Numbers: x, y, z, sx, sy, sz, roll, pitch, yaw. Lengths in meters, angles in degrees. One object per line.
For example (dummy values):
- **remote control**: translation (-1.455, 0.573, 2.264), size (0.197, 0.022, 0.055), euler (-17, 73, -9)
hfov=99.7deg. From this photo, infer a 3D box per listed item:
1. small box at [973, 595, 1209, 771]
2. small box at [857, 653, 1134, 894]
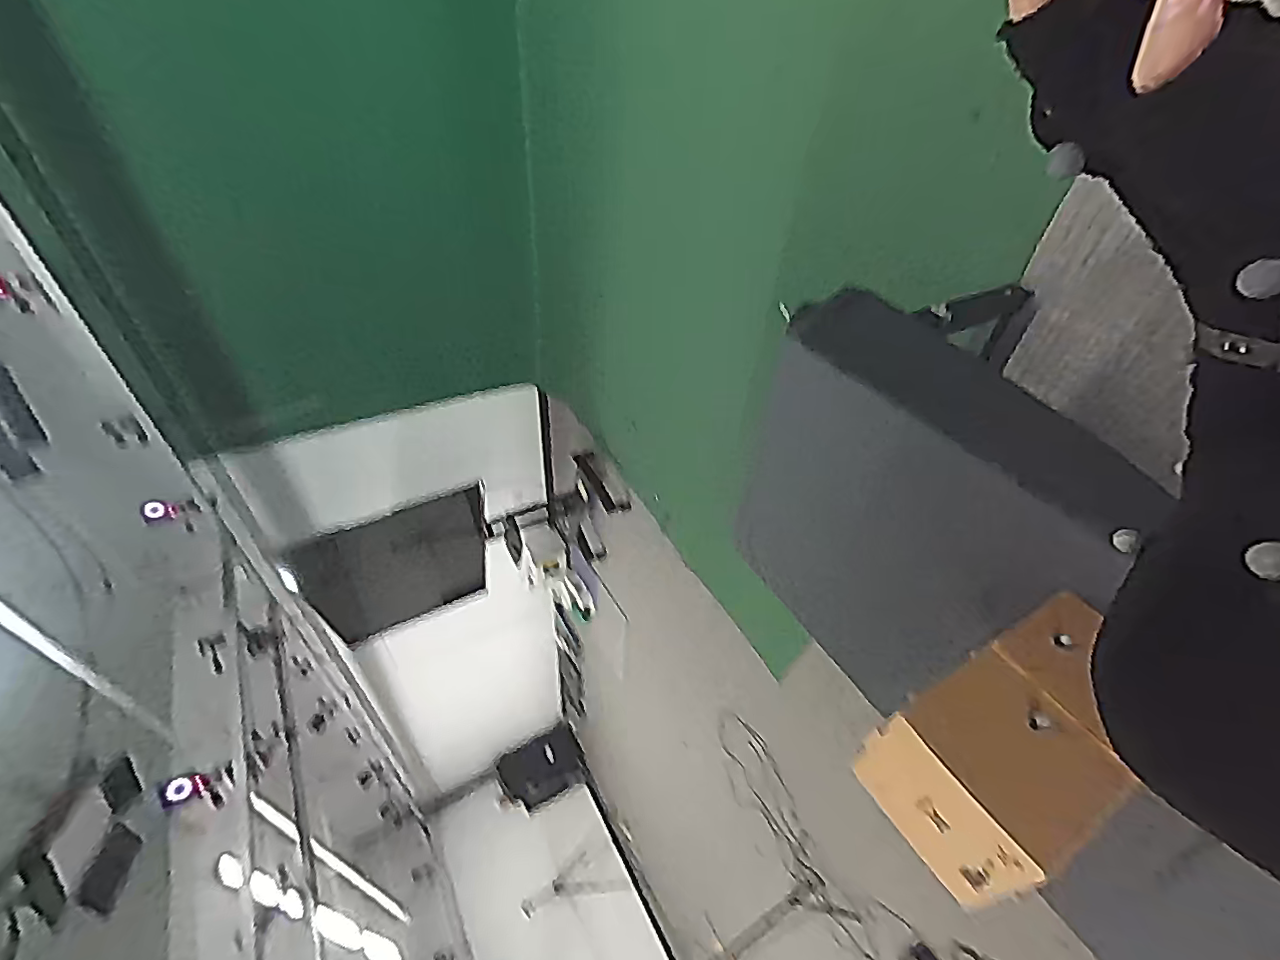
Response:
- **small box**: translation (0.542, 0.270, 0.691), size (0.179, 0.176, 0.168), euler (49, 150, 38)
- **small box**: translation (0.400, 0.329, 0.633), size (0.179, 0.176, 0.168), euler (52, 152, 38)
